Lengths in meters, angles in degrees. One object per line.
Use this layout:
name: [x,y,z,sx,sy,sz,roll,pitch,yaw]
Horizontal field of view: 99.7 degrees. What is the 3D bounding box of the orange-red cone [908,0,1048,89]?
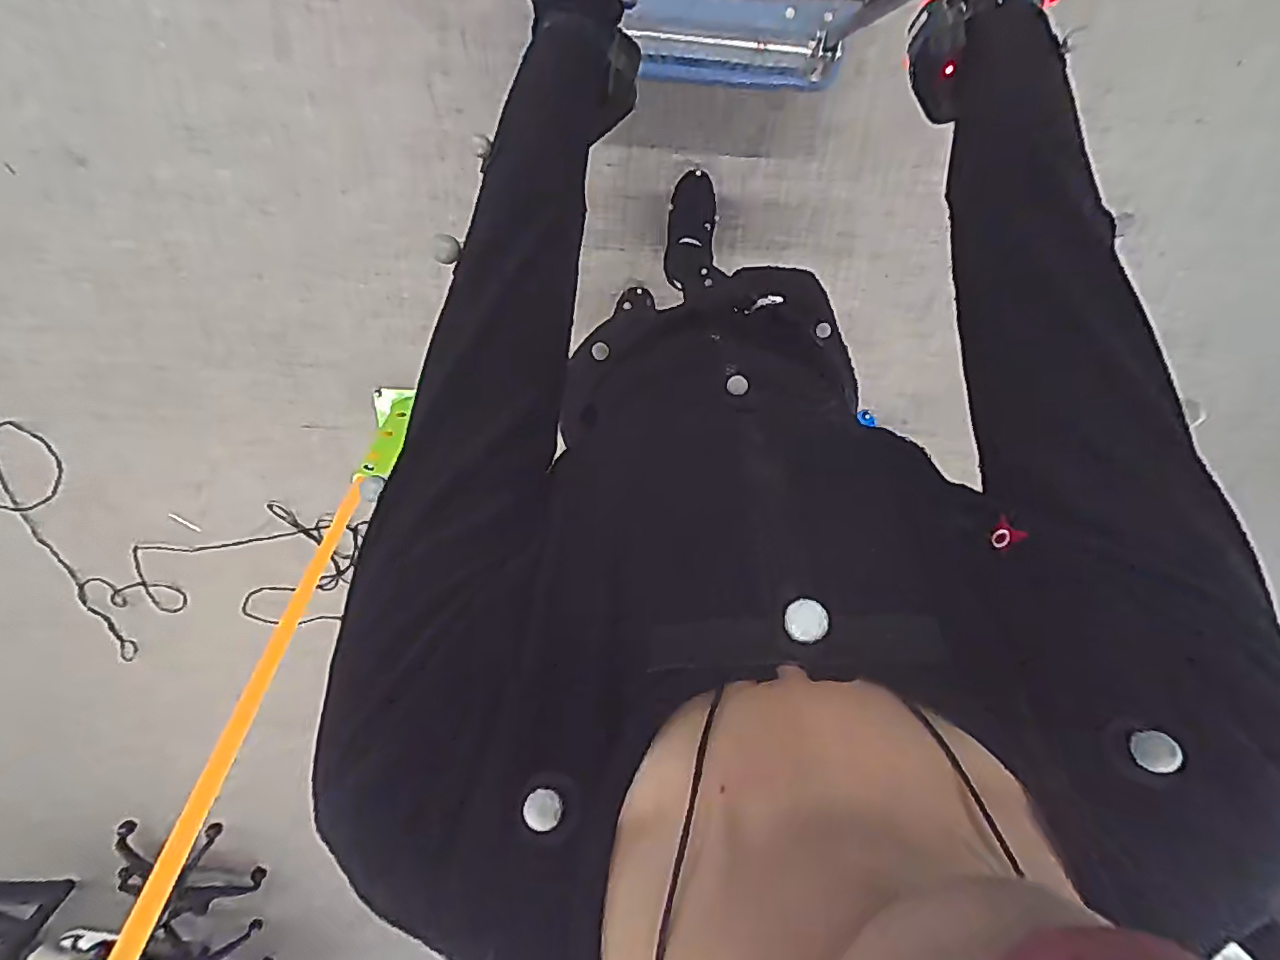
orange-red cone: [0.680,-0.868,0.969,0.198,0.360,0.199,12,117,-7]
